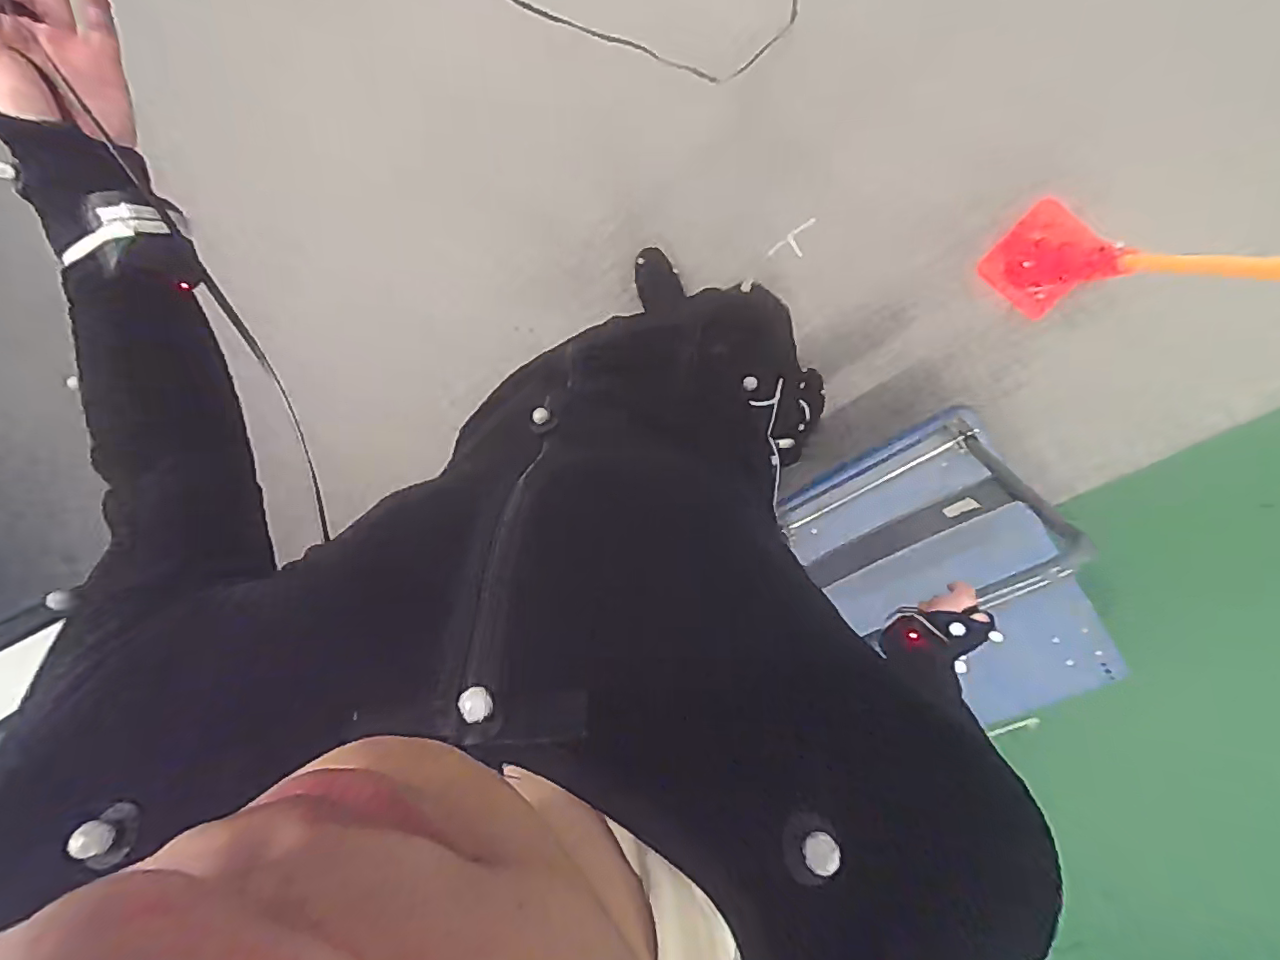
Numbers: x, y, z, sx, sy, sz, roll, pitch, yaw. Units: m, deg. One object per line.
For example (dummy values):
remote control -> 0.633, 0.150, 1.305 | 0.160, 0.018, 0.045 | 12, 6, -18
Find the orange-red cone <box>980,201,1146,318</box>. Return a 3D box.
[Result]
orange-red cone -> 0.889, -0.441, 1.090 | 0.198, 0.360, 0.199 | 39, 114, -5
